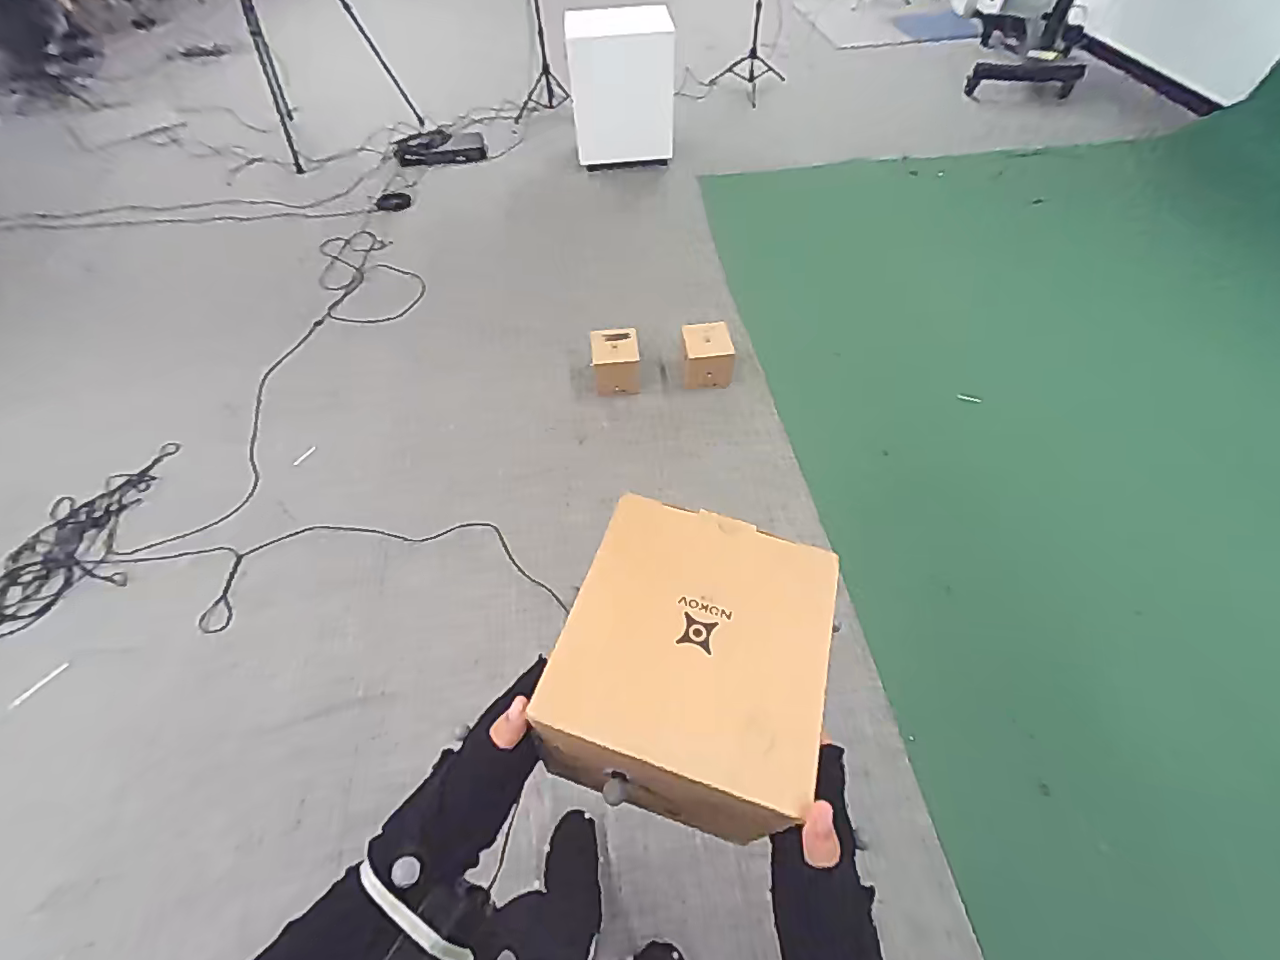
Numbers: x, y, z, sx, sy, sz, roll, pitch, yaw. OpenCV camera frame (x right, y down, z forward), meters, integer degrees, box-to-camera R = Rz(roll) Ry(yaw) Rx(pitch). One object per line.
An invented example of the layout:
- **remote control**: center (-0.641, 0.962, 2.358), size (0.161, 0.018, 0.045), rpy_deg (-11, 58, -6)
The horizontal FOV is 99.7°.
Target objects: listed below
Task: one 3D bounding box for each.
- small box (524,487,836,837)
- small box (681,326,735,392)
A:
- **small box**: center (0.033, 0.139, 0.406), size (0.168, 0.176, 0.179), rpy_deg (16, 51, 8)
- **small box**: center (0.246, -0.441, 1.992), size (0.168, 0.176, 0.179), rpy_deg (-6, 55, -3)
